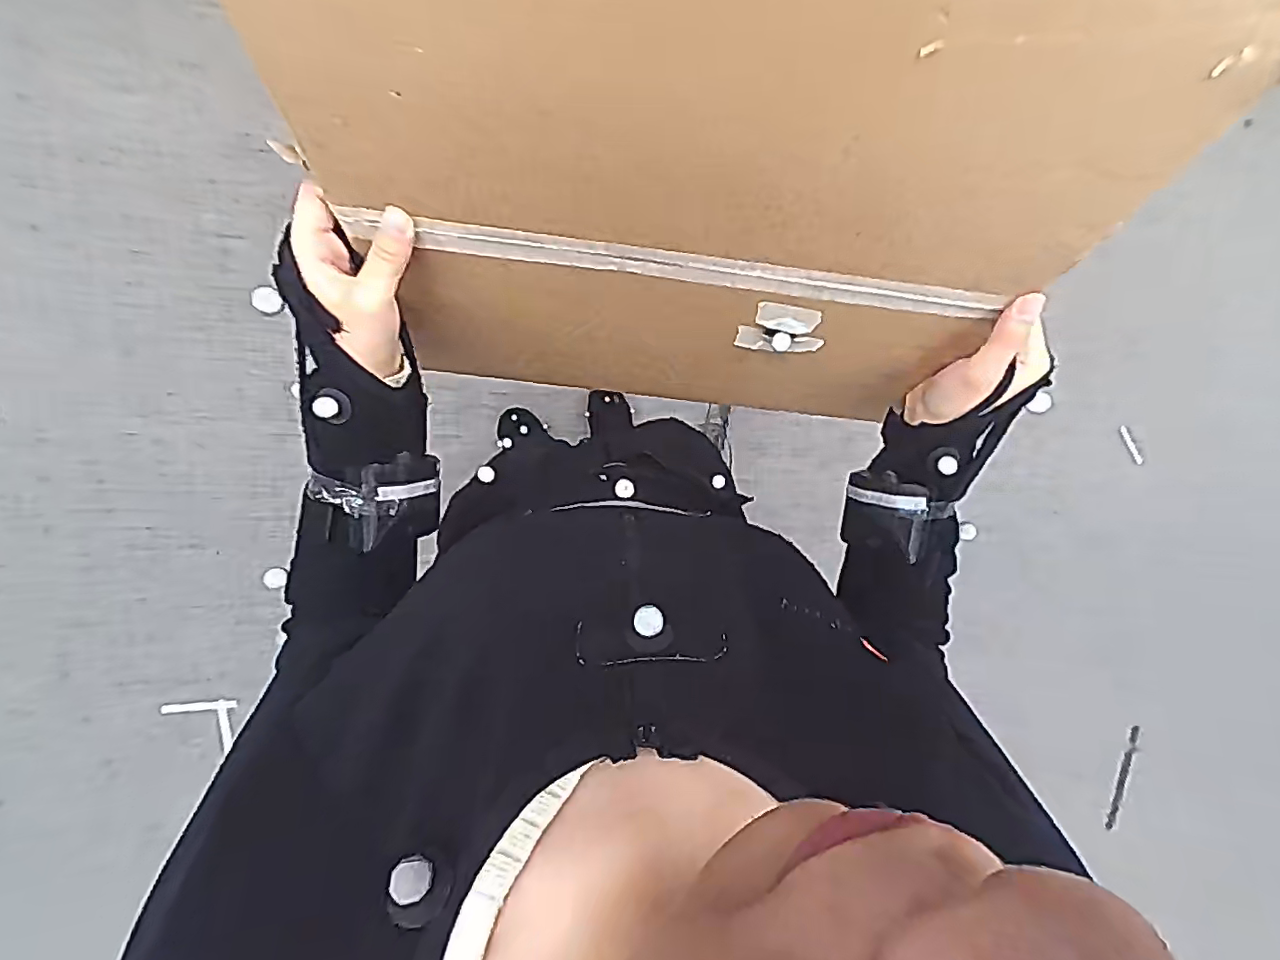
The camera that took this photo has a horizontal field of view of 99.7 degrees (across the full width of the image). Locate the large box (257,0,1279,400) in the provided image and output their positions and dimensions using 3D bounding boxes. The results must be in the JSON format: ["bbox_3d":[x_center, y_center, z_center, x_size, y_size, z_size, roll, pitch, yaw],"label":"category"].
[{"bbox_3d":[0.049,-0.275,0.350,0.408,0.320,0.320,5,69,-4],"label":"large box"}]
